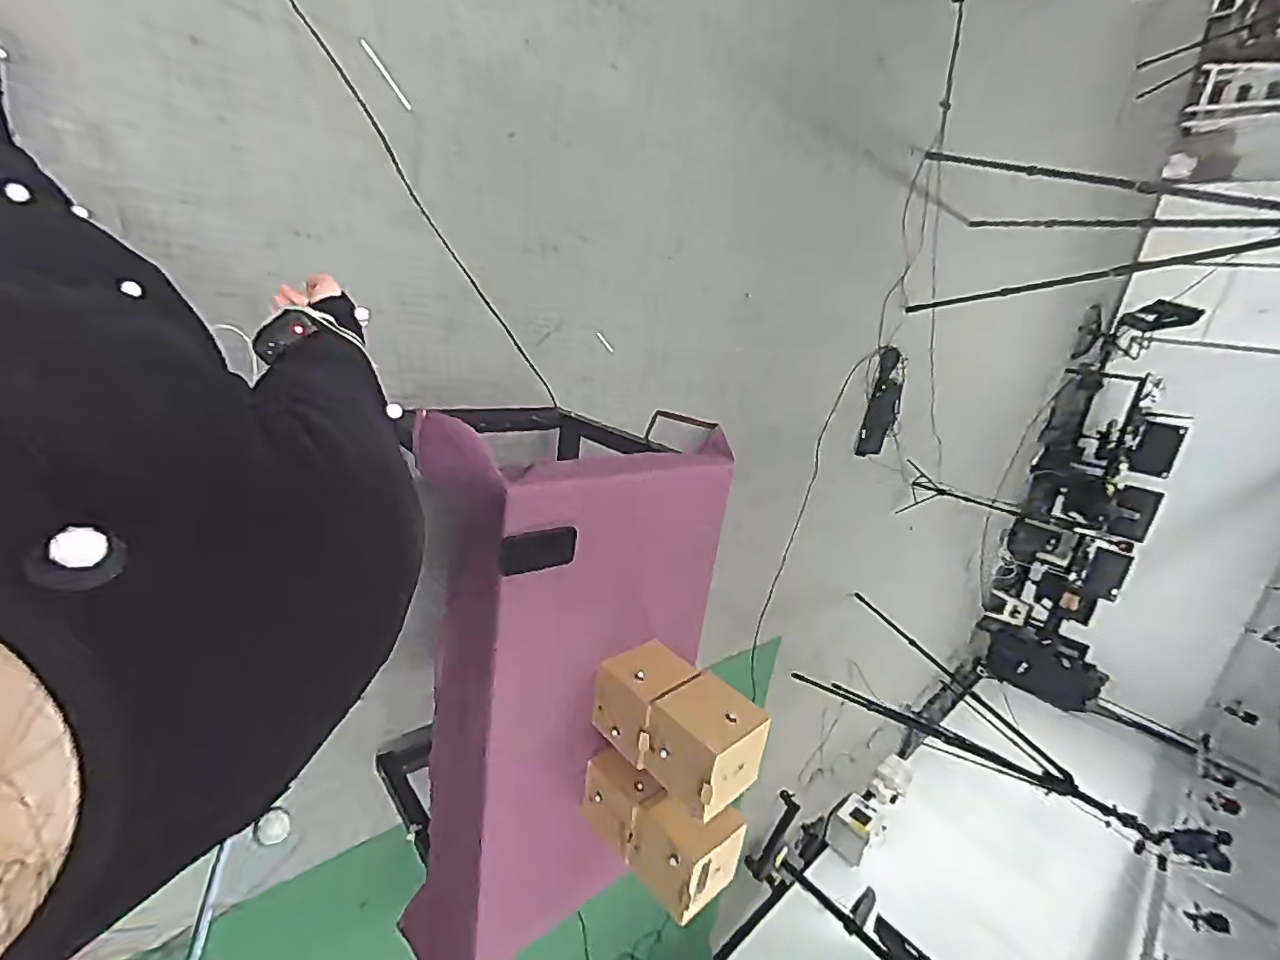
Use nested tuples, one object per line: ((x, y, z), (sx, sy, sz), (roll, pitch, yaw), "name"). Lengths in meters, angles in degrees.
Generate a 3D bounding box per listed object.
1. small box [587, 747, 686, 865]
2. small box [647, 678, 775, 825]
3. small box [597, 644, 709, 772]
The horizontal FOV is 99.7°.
((-0.002, 0.745, 1.285), (0.179, 0.176, 0.168), (-8, 112, -40), "small box")
((0.141, 0.533, 1.092), (0.179, 0.176, 0.168), (-9, 113, -41), "small box")
((0.024, 0.495, 1.202), (0.179, 0.176, 0.168), (-8, 114, -42), "small box")
